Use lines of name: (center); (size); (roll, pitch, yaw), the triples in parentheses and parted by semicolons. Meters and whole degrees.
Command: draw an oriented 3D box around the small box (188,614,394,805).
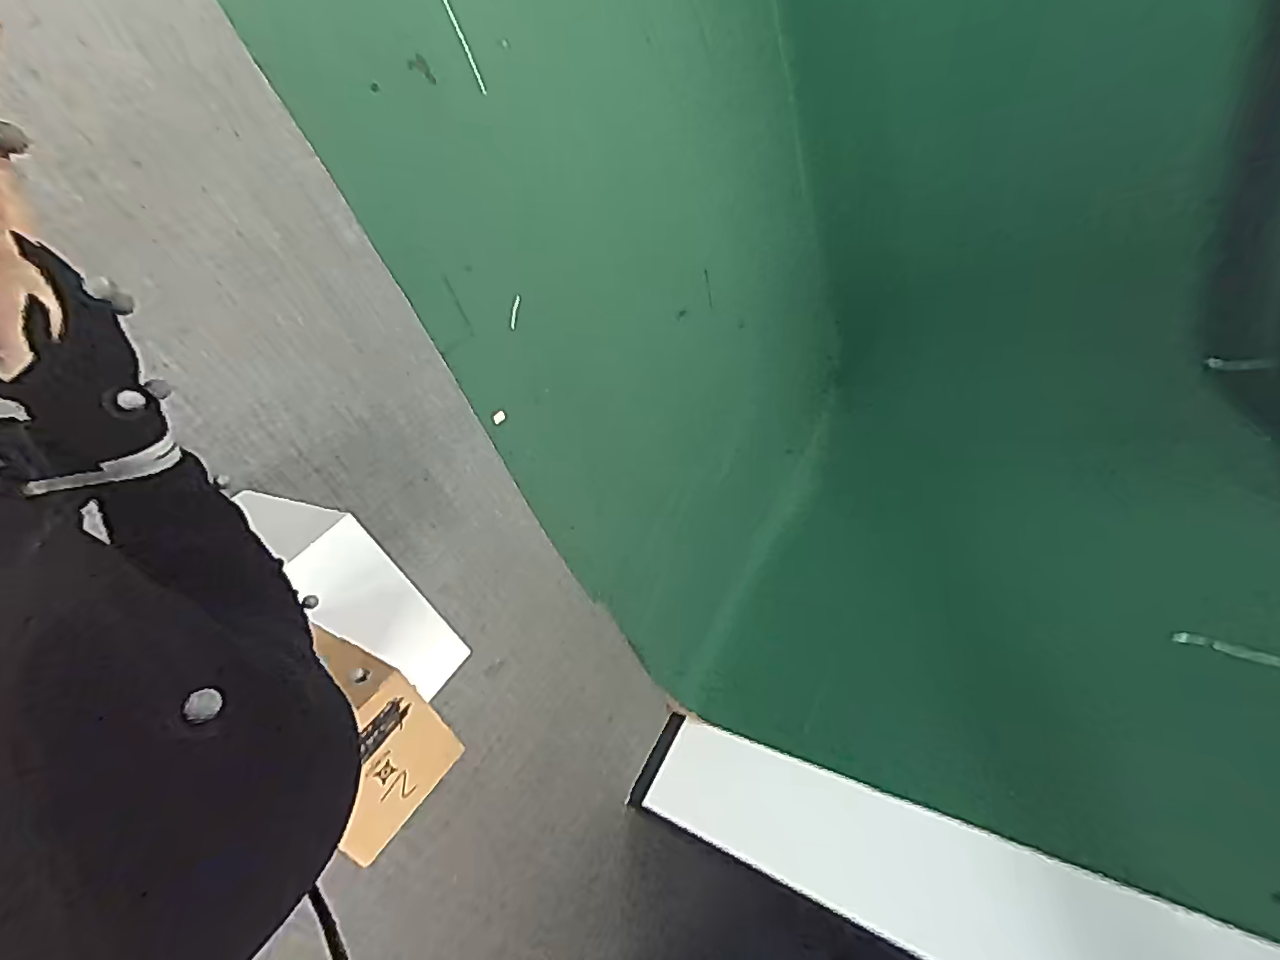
small box: (-0.512, 0.326, 0.802); (0.168, 0.176, 0.179); (-45, 128, -40)
